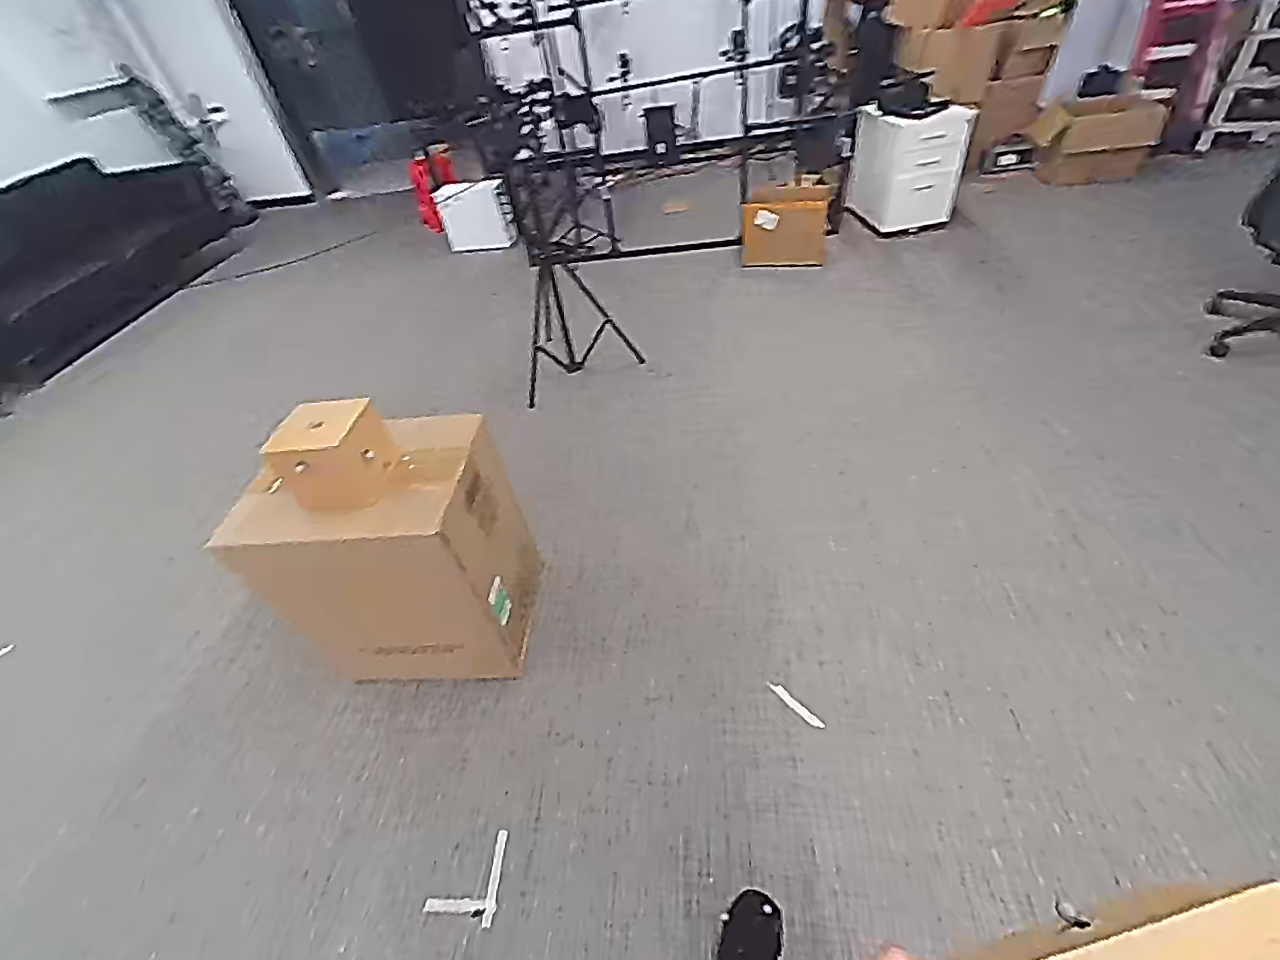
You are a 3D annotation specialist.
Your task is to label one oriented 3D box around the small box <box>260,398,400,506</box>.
[{"bbox_3d":[-0.660,-0.057,1.181,0.179,0.176,0.168,-4,44,7],"label":"small box"}]
